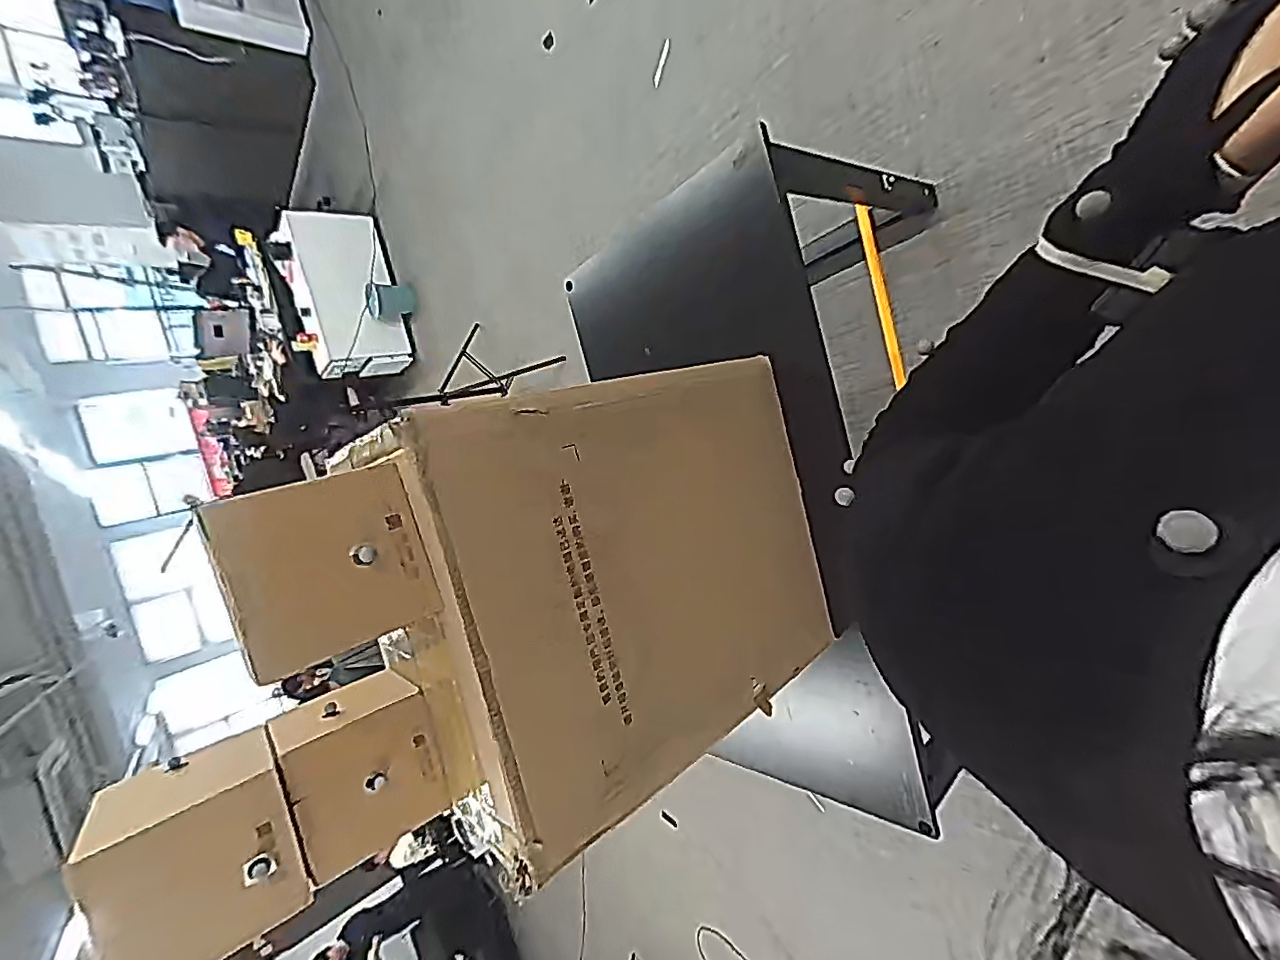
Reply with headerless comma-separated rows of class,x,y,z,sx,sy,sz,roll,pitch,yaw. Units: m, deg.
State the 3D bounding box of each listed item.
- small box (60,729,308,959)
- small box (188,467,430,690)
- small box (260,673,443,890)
small box,-0.494,0.411,0.609,0.179,0.176,0.168,-7,98,51
small box,-0.346,0.094,0.573,0.179,0.176,0.168,-15,94,50
small box,-0.380,0.379,0.723,0.179,0.176,0.168,-10,95,51
